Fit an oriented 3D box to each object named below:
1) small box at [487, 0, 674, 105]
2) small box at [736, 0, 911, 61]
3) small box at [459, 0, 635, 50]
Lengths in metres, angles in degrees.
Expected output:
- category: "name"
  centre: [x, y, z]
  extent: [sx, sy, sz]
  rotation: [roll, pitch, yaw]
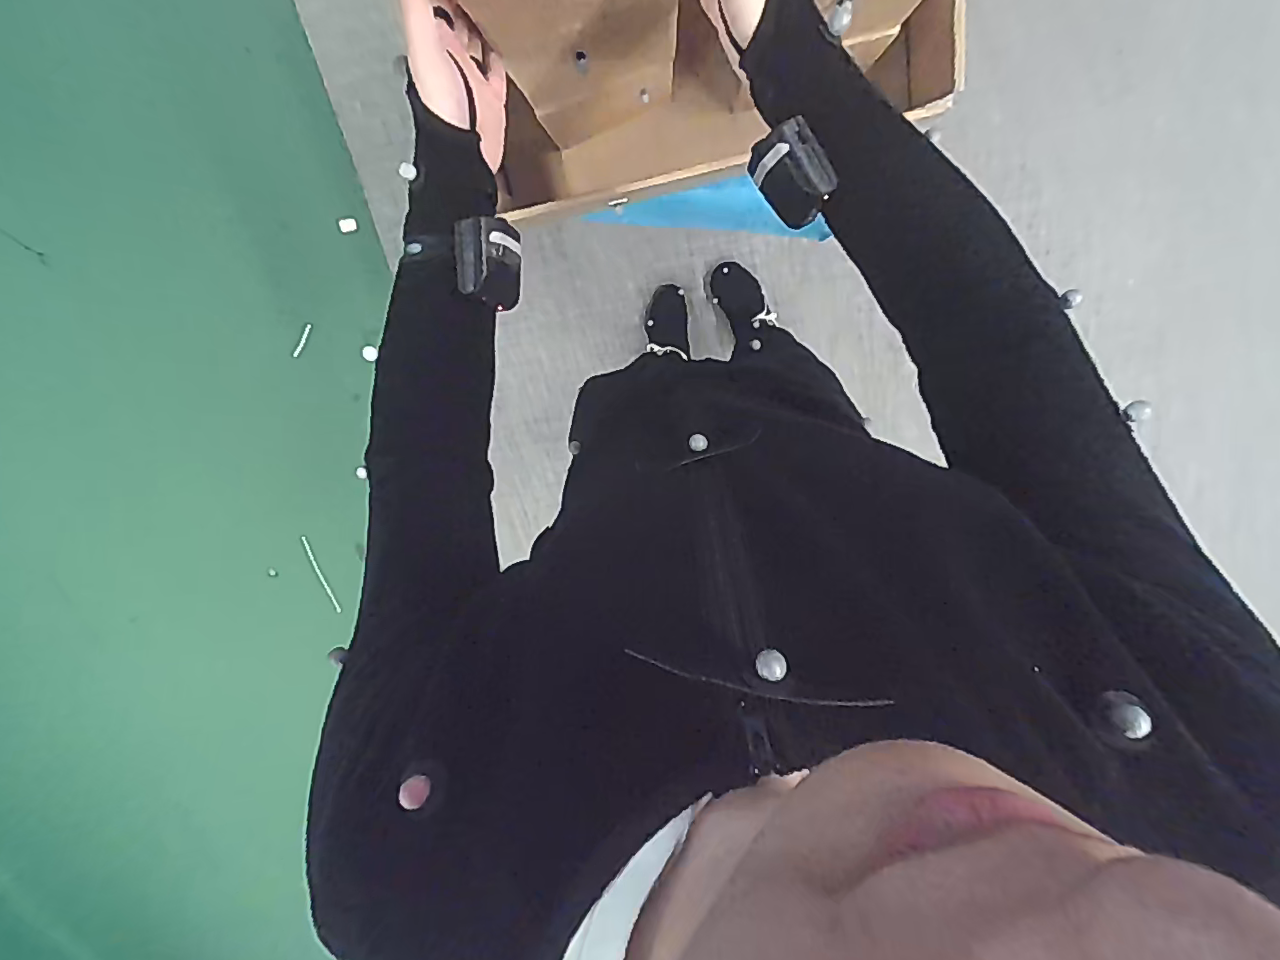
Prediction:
- category: "small box"
  centre: [-0.069, -0.507, 0.534]
  extent: [0.179, 0.176, 0.168]
  rotation: [-15, 109, 9]
- category: "small box"
  centre: [0.177, -0.531, 0.505]
  extent: [0.179, 0.176, 0.168]
  rotation: [-9, 110, 8]
- category: "small box"
  centre: [-0.079, -0.452, 0.381]
  extent: [0.179, 0.176, 0.168]
  rotation: [-16, 109, 8]
